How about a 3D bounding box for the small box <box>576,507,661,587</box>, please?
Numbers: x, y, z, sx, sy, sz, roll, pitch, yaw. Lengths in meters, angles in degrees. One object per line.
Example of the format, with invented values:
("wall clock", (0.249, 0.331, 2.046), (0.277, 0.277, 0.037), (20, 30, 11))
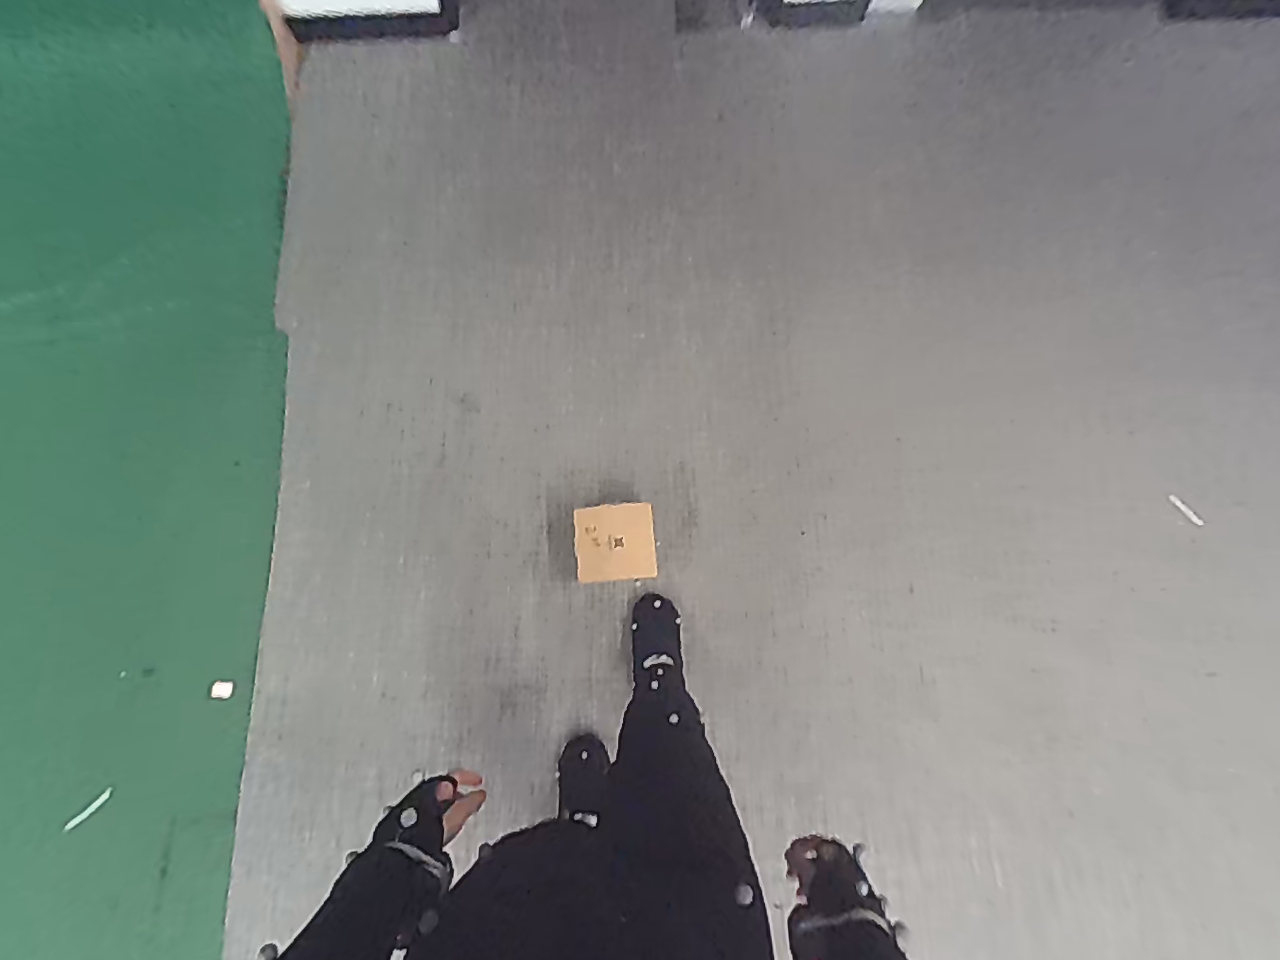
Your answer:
("small box", (-0.049, 0.157, 1.255), (0.179, 0.176, 0.168), (-5, 79, -1))
